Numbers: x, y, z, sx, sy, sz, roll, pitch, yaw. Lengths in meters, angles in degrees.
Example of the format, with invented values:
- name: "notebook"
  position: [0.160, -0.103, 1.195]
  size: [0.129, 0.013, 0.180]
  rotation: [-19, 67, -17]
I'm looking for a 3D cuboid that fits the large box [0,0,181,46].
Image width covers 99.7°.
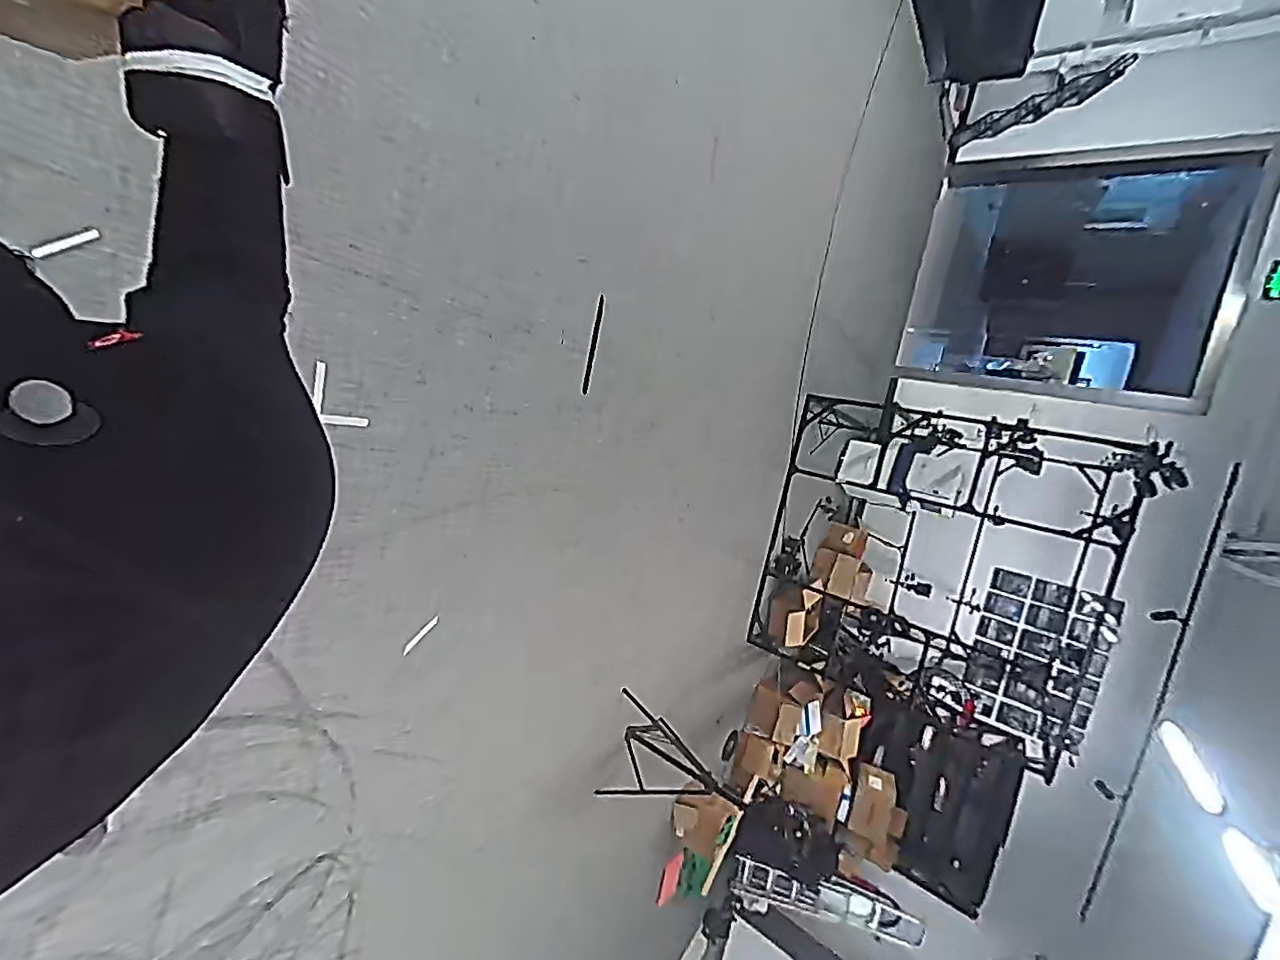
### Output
- name: "large box"
  position: [-0.505, -0.473, 0.235]
  size: [0.408, 0.320, 0.320]
  rotation: [-9, 121, -54]
